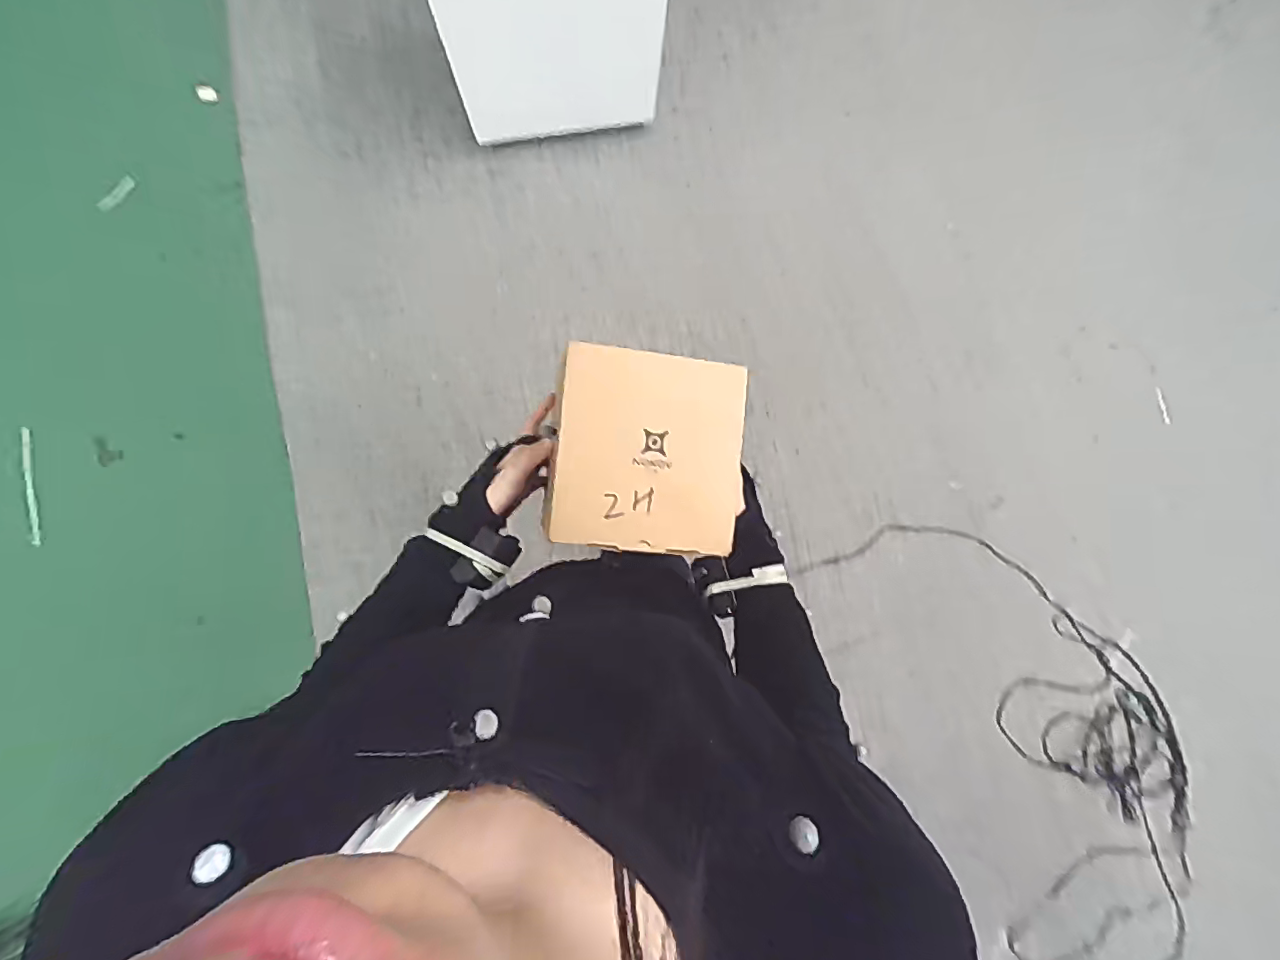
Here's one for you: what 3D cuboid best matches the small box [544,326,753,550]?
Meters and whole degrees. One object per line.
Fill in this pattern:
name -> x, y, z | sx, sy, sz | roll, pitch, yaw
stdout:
small box -> -0.003, -0.031, 0.536 | 0.168, 0.176, 0.179 | 6, 88, -12
